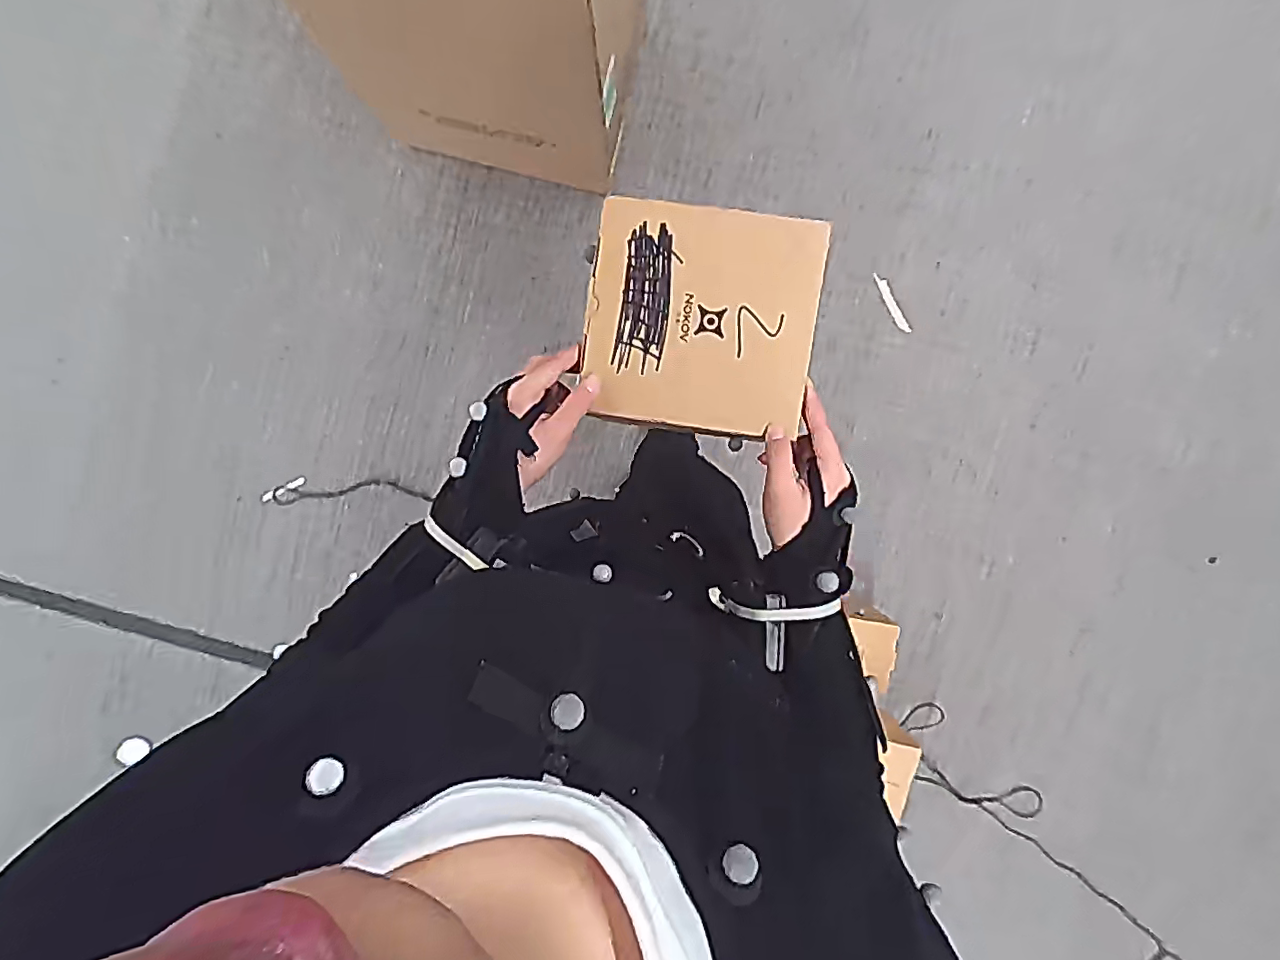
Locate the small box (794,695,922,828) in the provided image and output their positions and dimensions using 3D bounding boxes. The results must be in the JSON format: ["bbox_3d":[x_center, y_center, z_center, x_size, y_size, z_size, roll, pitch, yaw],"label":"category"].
[{"bbox_3d":[0.444,0.576,1.132,0.179,0.176,0.168,16,94,-2],"label":"small box"}]
